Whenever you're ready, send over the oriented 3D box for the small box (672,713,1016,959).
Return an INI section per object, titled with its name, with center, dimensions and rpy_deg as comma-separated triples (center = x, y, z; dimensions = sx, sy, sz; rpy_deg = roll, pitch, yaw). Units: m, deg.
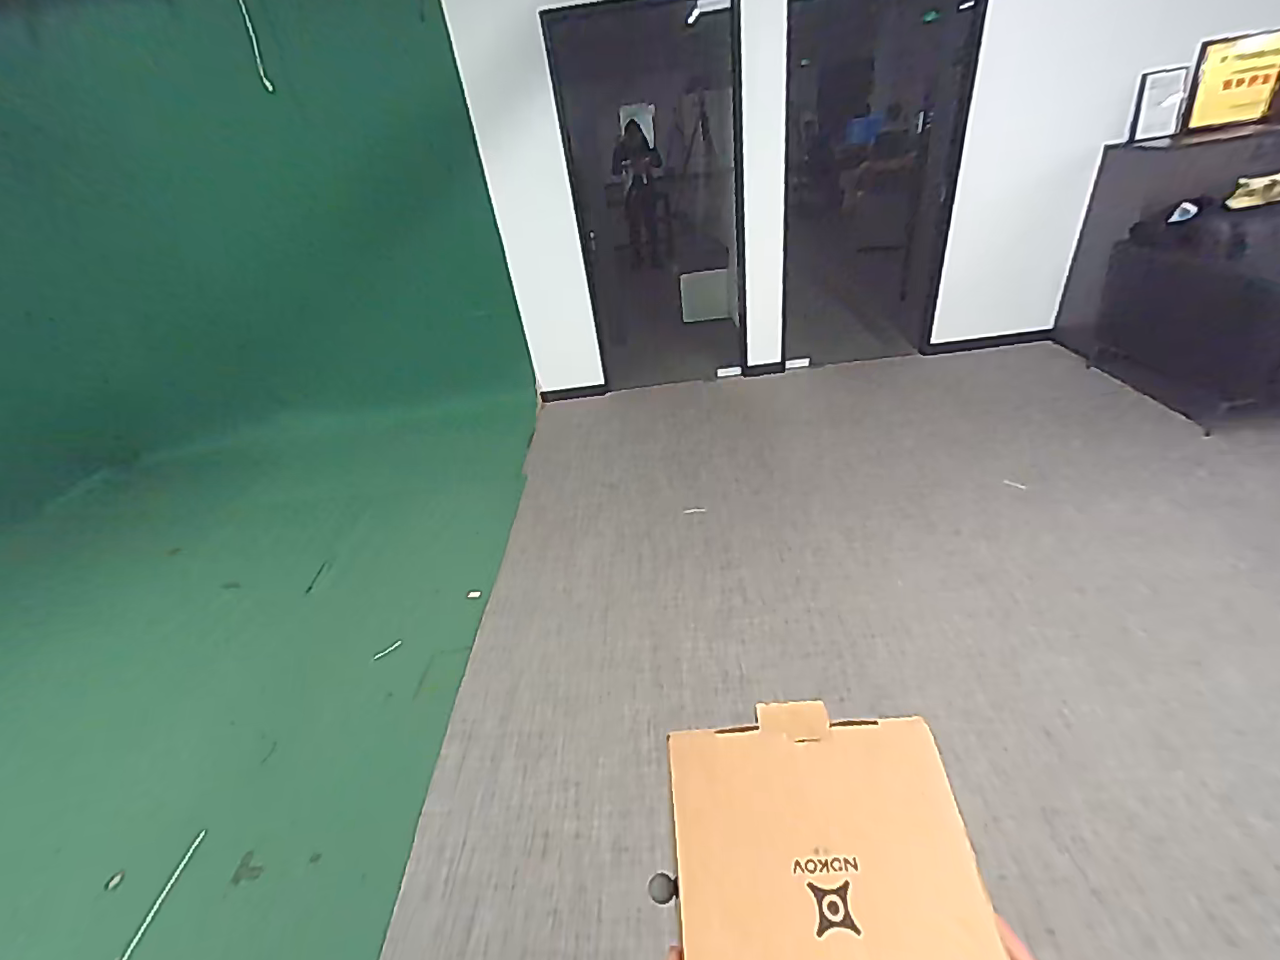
[small box]
center = 0.111, 0.270, 0.354
dimensions = 0.168, 0.176, 0.179
rpy_deg = -4, 51, 1
